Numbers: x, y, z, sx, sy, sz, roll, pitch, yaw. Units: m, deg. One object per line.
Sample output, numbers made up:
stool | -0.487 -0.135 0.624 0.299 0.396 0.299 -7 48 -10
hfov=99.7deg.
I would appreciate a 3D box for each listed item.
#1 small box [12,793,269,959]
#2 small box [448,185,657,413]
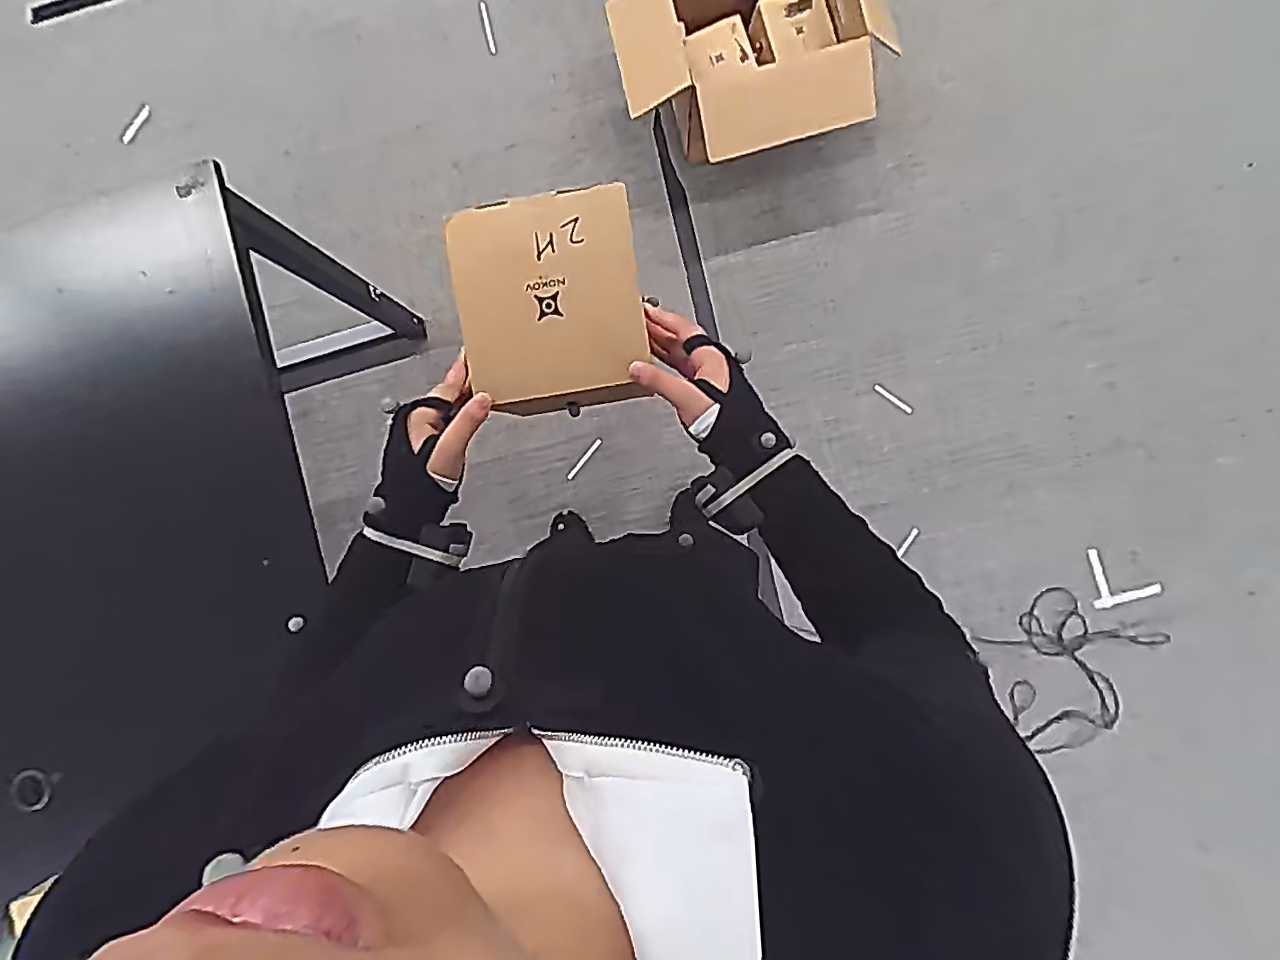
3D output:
small box | -0.635 0.552 0.715 0.179 0.176 0.168 -20 87 4
small box | -0.074 -0.166 0.556 0.168 0.176 0.179 -8 93 2
